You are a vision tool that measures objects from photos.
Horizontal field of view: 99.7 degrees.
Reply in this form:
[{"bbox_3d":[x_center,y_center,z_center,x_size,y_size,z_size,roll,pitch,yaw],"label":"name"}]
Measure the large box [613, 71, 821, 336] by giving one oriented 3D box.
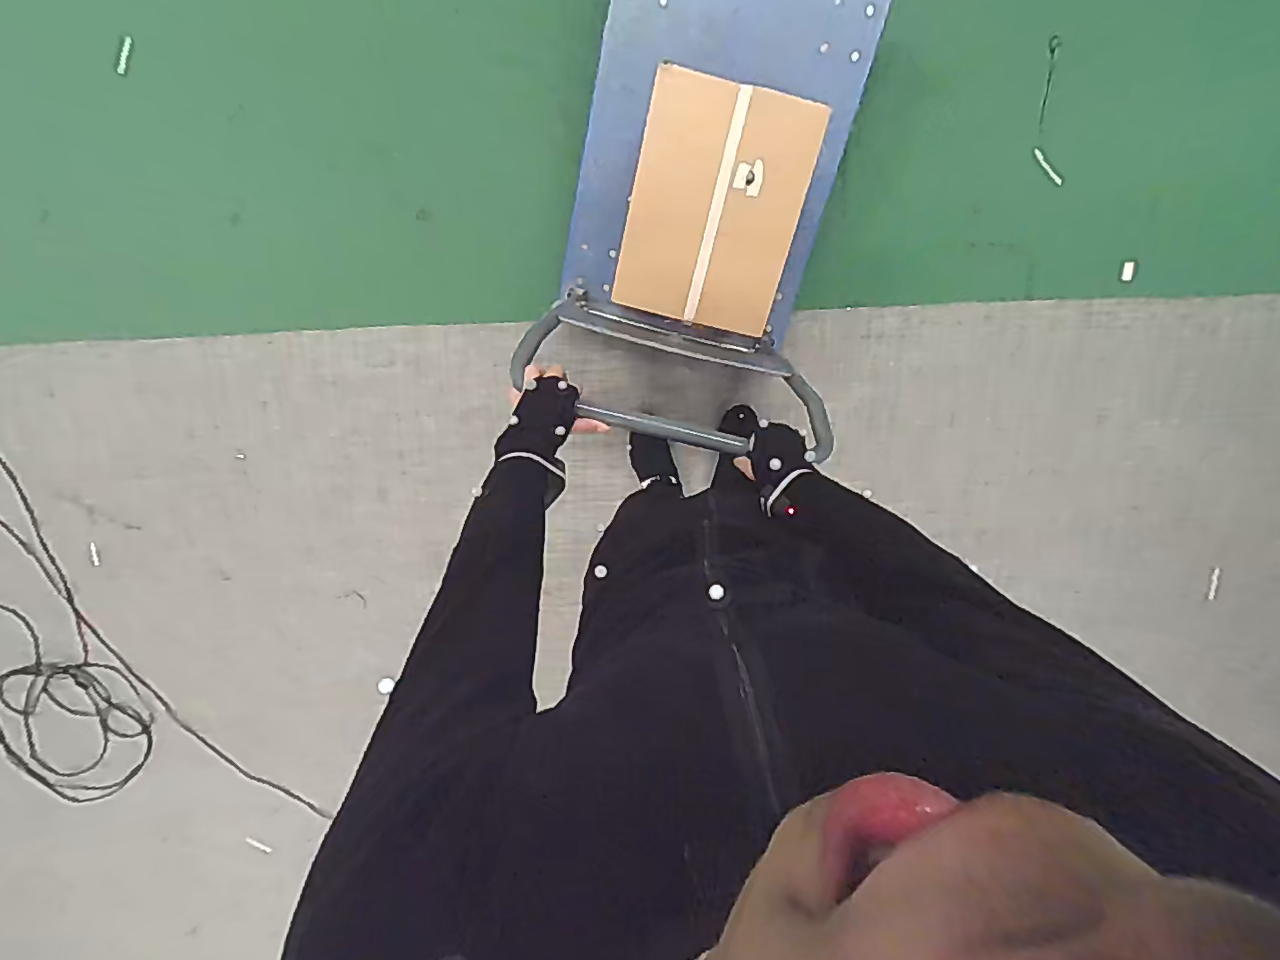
[{"bbox_3d":[0.139,-0.552,1.155,0.320,0.320,0.408,12,111,-3],"label":"large box"}]
